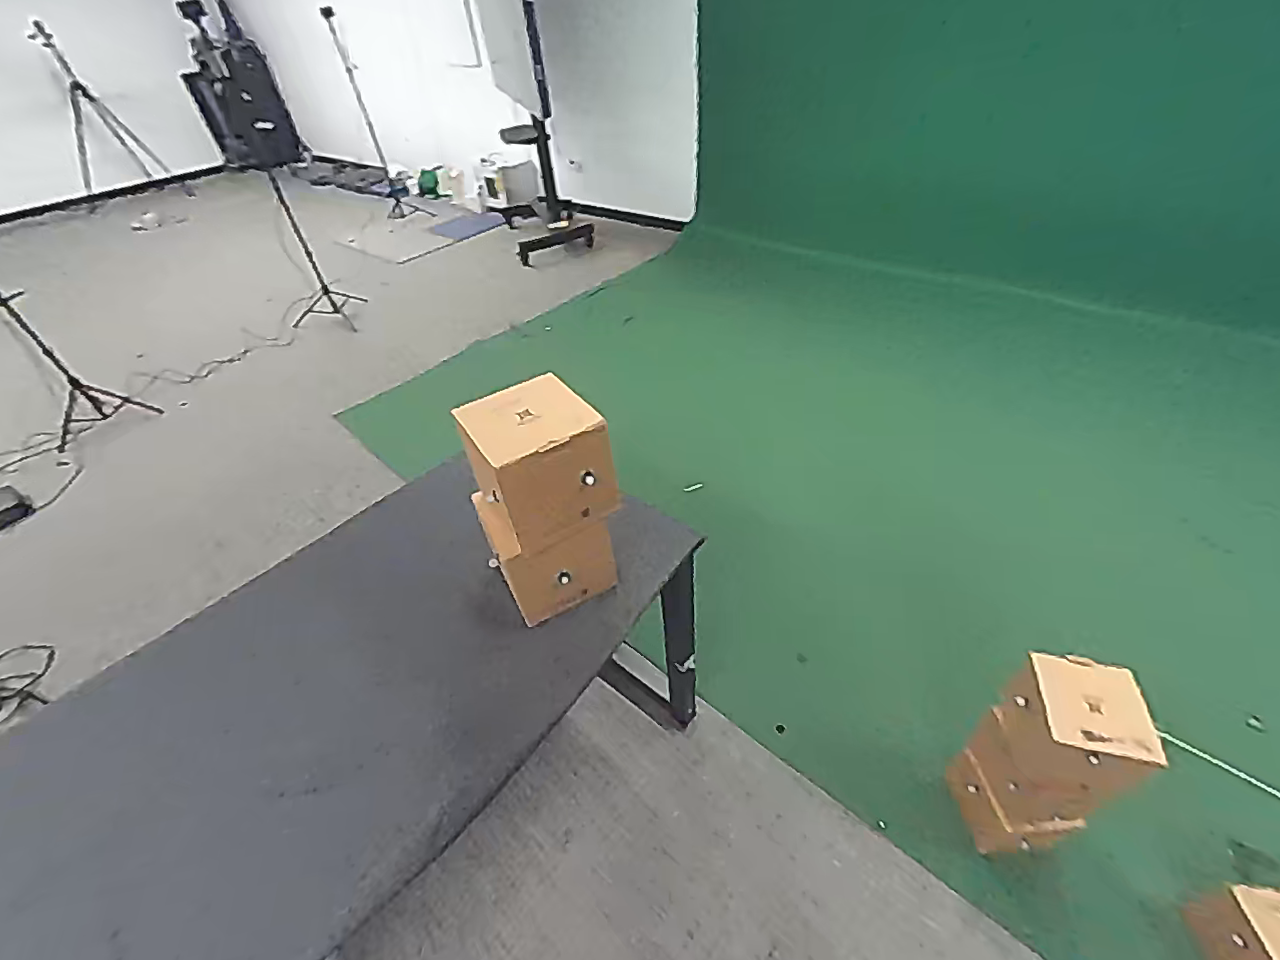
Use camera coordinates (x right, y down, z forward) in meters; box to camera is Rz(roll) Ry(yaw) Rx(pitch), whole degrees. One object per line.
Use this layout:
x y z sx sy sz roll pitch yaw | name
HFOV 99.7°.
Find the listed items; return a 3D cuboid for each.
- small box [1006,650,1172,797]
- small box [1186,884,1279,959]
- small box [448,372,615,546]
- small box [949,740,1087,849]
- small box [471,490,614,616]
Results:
0.811 0.451 1.004 0.168 0.176 0.179 7 44 15 | small box
1.182 0.869 0.990 0.168 0.176 0.179 -1 44 5 | small box
-0.152 -0.027 0.791 0.168 0.176 0.179 -27 44 -22 | small box
0.831 0.706 1.211 0.168 0.176 0.179 -6 42 1 | small box
-0.157 0.099 0.895 0.168 0.176 0.179 -23 43 -18 | small box
